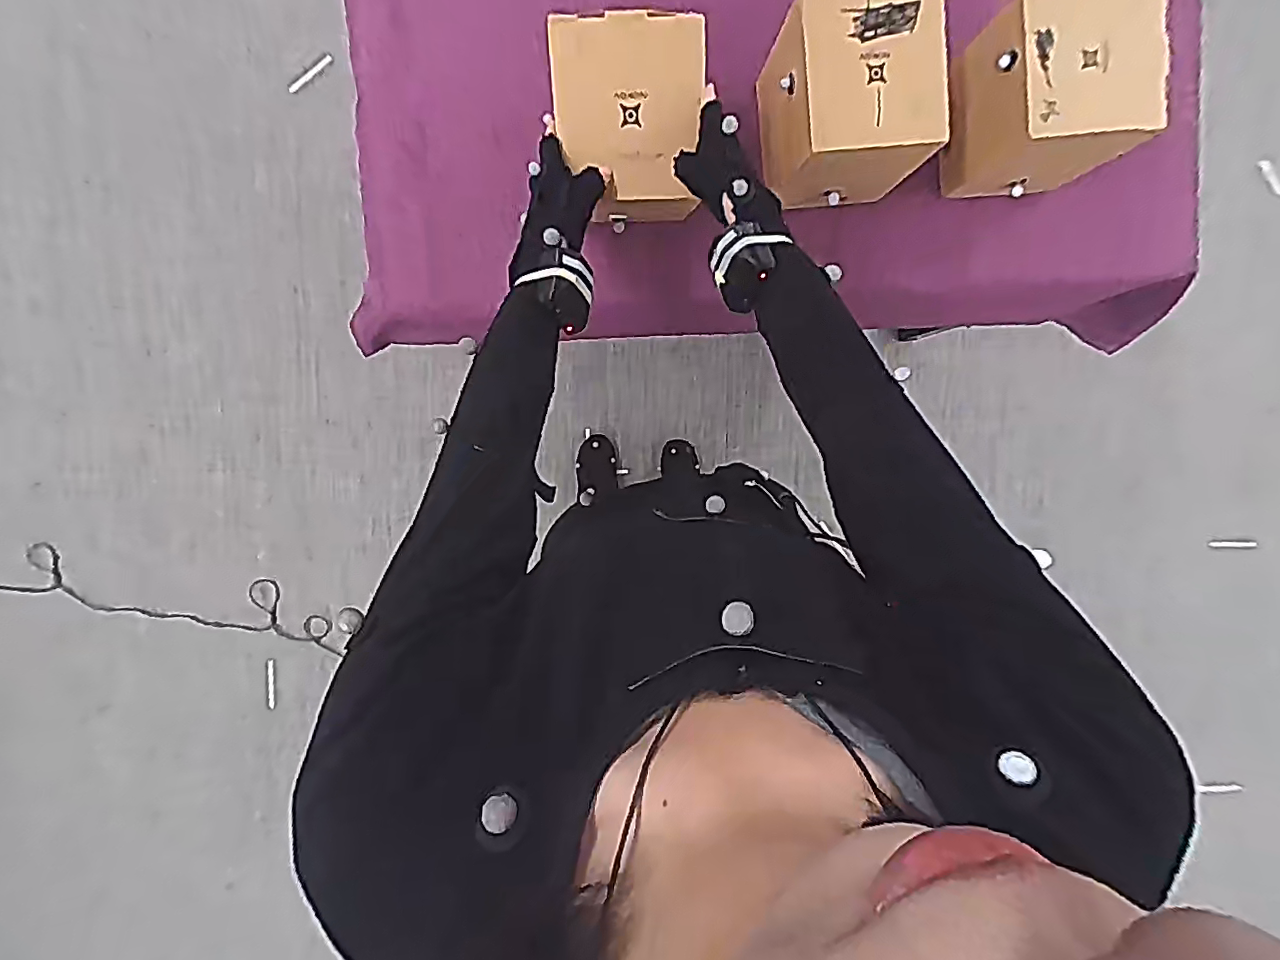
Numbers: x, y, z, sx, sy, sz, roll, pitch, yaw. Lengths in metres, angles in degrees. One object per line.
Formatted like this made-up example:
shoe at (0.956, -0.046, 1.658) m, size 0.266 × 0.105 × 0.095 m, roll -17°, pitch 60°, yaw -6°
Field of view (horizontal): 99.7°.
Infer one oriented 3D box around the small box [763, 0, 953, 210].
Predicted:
small box at (0.261, -0.469, 0.683) m, size 0.168 × 0.176 × 0.179 m, roll -6°, pitch 96°, yaw -4°

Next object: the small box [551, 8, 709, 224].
small box at (-0.013, -0.420, 0.652) m, size 0.168 × 0.176 × 0.179 m, roll -4°, pitch 108°, yaw -2°

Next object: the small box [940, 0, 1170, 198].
small box at (0.523, -0.489, 0.702) m, size 0.179 × 0.176 × 0.168 m, roll -6°, pitch 95°, yaw -4°
